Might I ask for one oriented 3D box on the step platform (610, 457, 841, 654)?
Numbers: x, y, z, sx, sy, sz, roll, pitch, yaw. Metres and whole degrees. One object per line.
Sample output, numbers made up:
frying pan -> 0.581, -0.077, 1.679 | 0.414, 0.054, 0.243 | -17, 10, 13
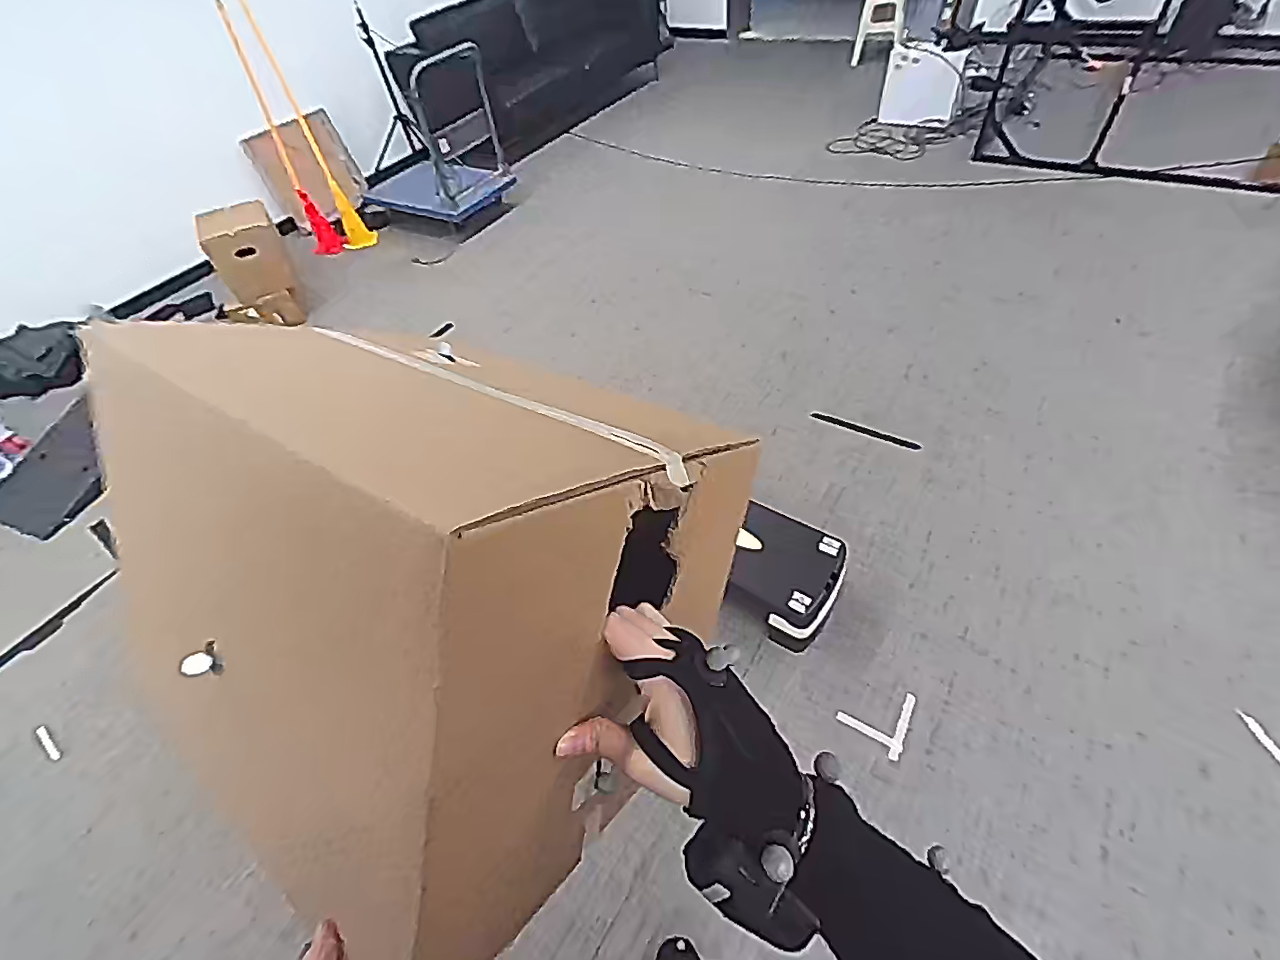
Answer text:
step platform -> 0.232, 0.191, 1.606 | 0.684, 0.204, 0.286 | 30, 60, 30
